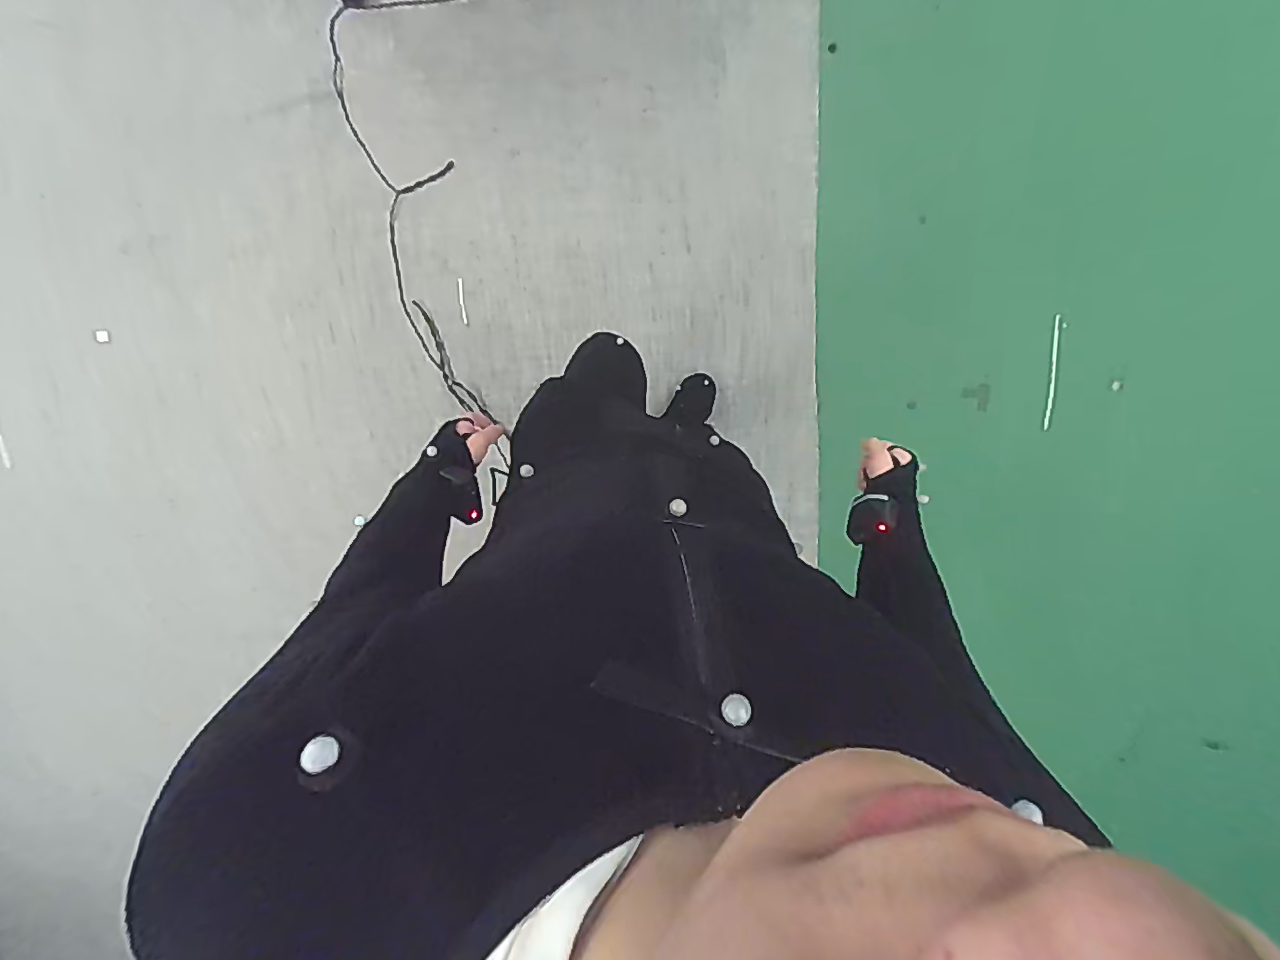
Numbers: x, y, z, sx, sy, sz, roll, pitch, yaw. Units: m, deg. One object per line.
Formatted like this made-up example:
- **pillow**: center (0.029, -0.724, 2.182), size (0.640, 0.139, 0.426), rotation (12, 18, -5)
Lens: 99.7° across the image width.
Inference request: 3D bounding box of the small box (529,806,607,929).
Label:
- **small box**: center (-0.171, 0.947, 1.331), size (0.168, 0.176, 0.179), rotation (4, 102, 1)
